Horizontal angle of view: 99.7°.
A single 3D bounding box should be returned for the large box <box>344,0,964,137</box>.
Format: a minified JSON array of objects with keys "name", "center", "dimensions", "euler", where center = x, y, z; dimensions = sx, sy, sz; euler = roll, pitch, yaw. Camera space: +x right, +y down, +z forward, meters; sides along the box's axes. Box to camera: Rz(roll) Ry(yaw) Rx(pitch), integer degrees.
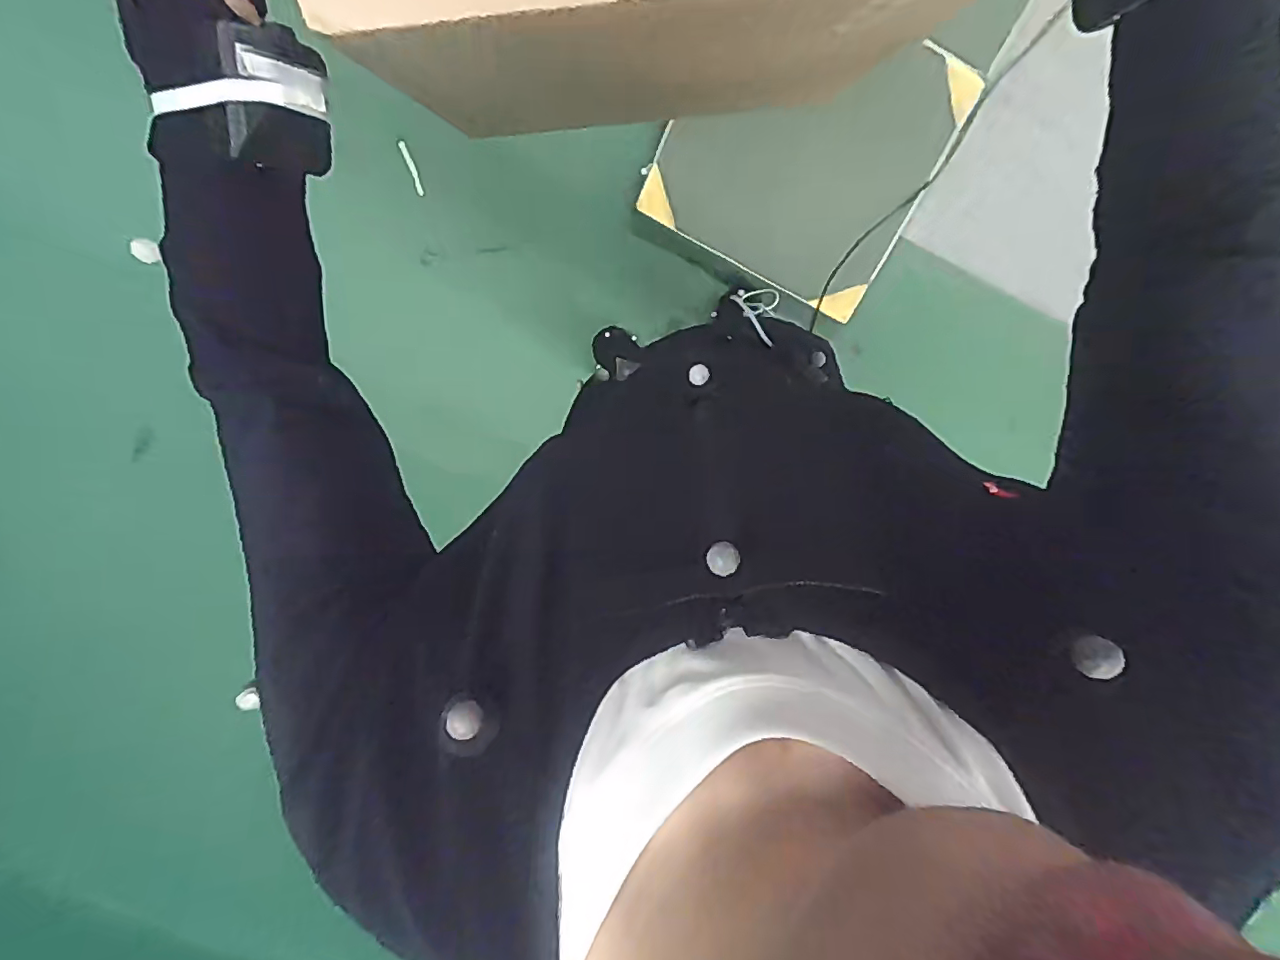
[{"name":"large box","center":[0.012,-0.470,0.380],"dimensions":[0.408,0.320,0.320],"euler":[-5,113,0]}]
